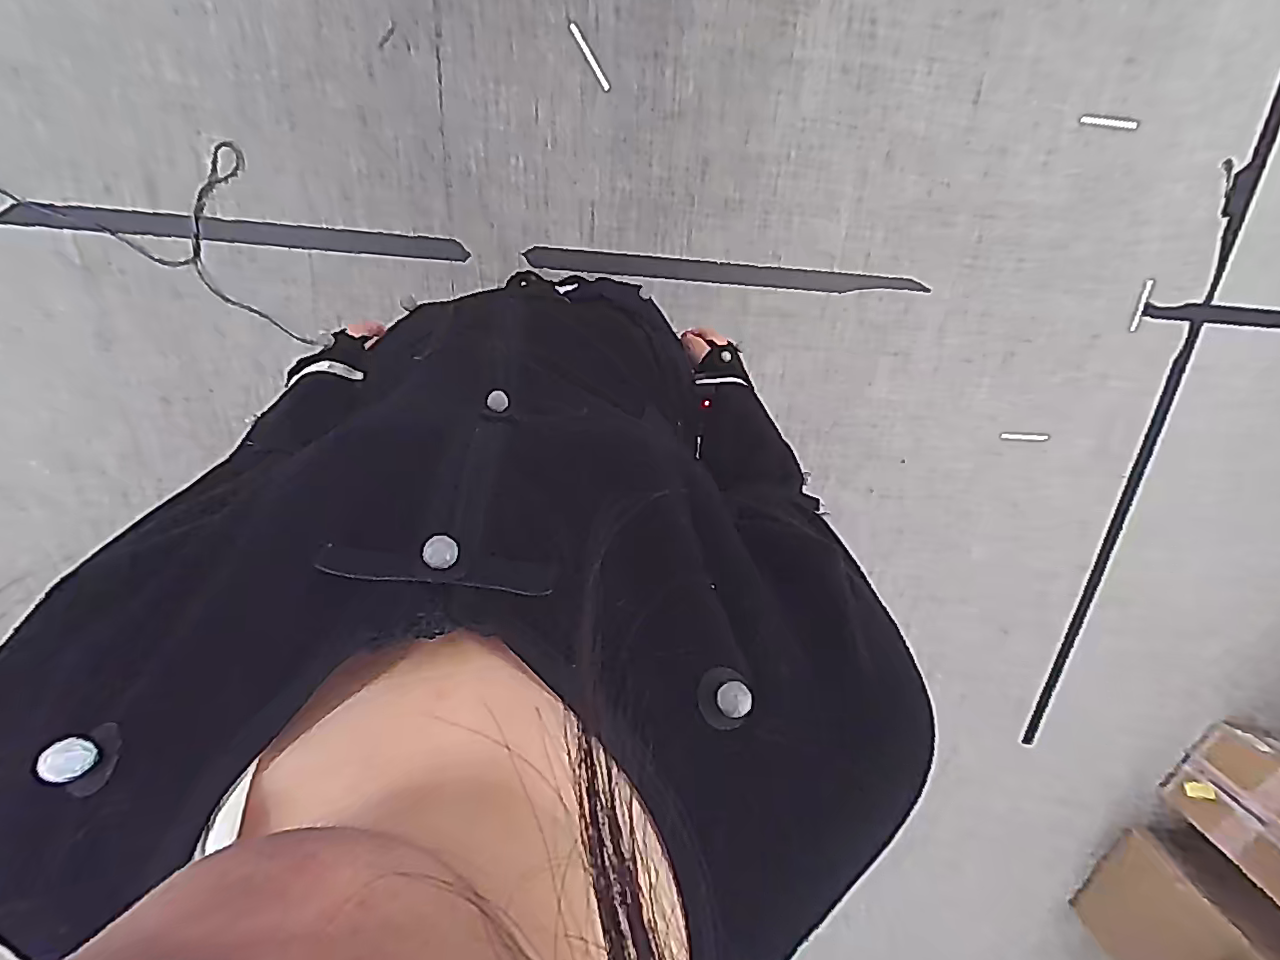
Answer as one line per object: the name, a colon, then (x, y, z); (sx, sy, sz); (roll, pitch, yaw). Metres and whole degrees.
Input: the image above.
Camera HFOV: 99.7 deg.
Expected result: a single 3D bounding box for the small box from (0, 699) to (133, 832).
small box: (-1.337, 0.642, 1.233); (0.168, 0.176, 0.179); (-37, 108, 7)
